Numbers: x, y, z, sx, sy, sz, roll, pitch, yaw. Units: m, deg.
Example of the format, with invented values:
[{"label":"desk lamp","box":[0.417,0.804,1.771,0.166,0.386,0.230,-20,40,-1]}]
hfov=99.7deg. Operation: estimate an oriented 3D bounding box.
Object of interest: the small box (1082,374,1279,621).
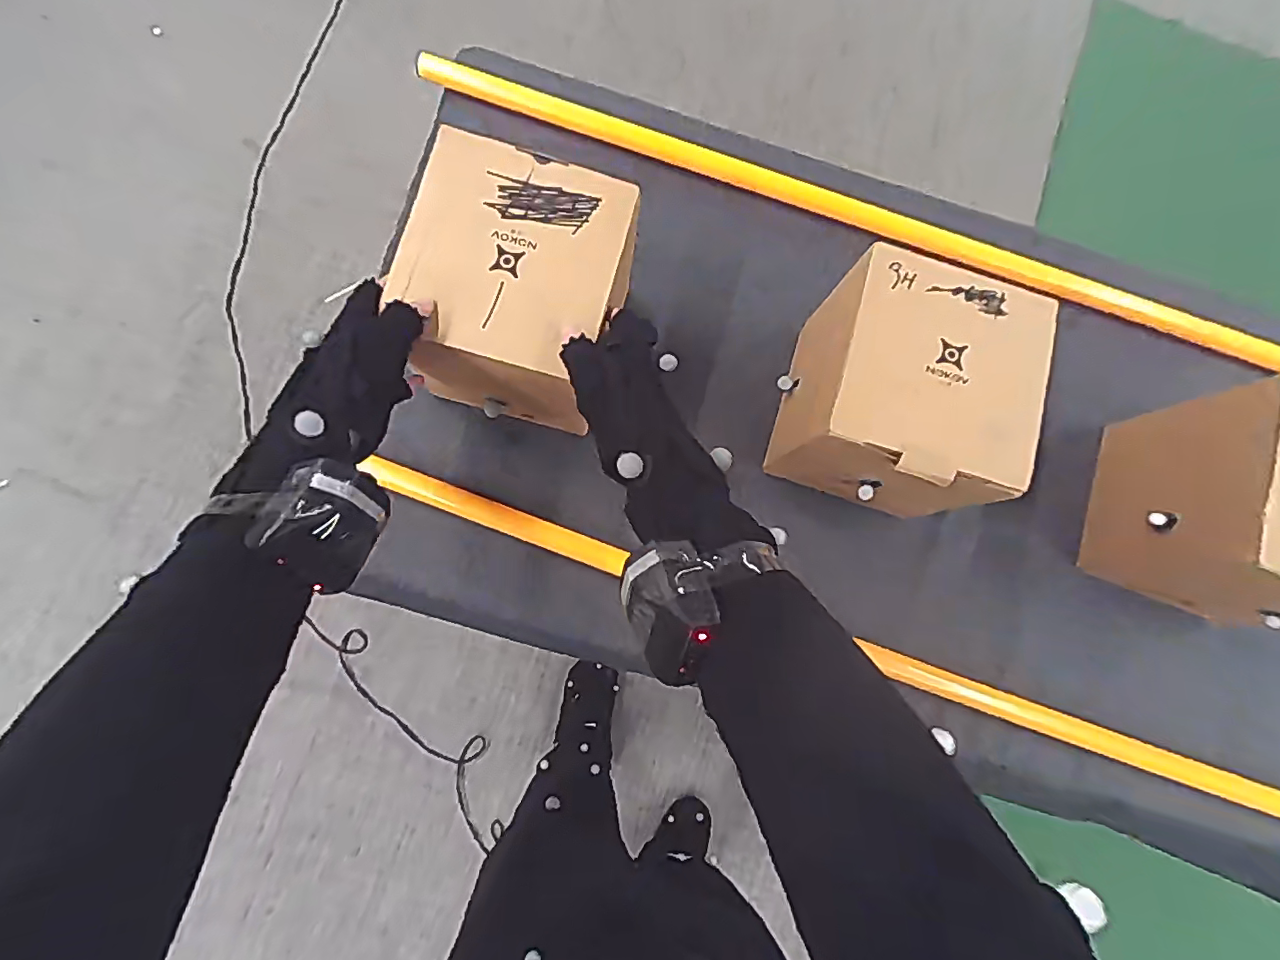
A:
[{"label":"small box","box":[0.580,0.031,0.523,0.168,0.176,0.179,20,77,-1]}]

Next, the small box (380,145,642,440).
[{"label":"small box","box":[-0.105,-0.154,0.502,0.168,0.176,0.179,15,80,-3]}]

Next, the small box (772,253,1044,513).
[{"label":"small box","box":[0.237,-0.075,0.518,0.168,0.176,0.179,14,78,0]}]
